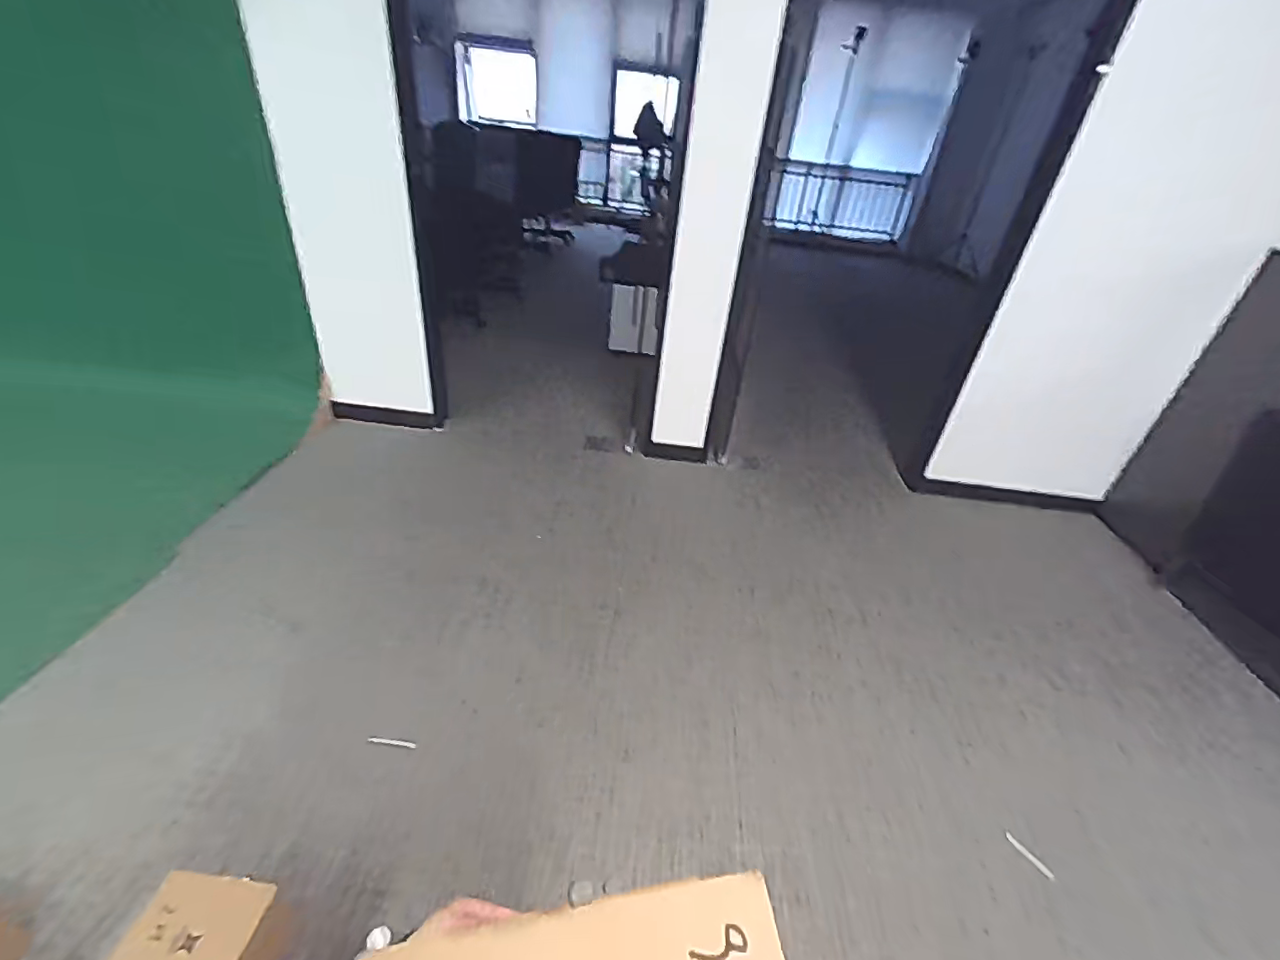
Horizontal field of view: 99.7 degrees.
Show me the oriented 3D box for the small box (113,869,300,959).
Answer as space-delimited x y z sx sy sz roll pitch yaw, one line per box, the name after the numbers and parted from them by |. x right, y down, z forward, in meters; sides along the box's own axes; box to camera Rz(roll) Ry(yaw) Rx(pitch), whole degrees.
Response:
-0.665 0.741 0.831 0.179 0.176 0.168 8 31 2 | small box
